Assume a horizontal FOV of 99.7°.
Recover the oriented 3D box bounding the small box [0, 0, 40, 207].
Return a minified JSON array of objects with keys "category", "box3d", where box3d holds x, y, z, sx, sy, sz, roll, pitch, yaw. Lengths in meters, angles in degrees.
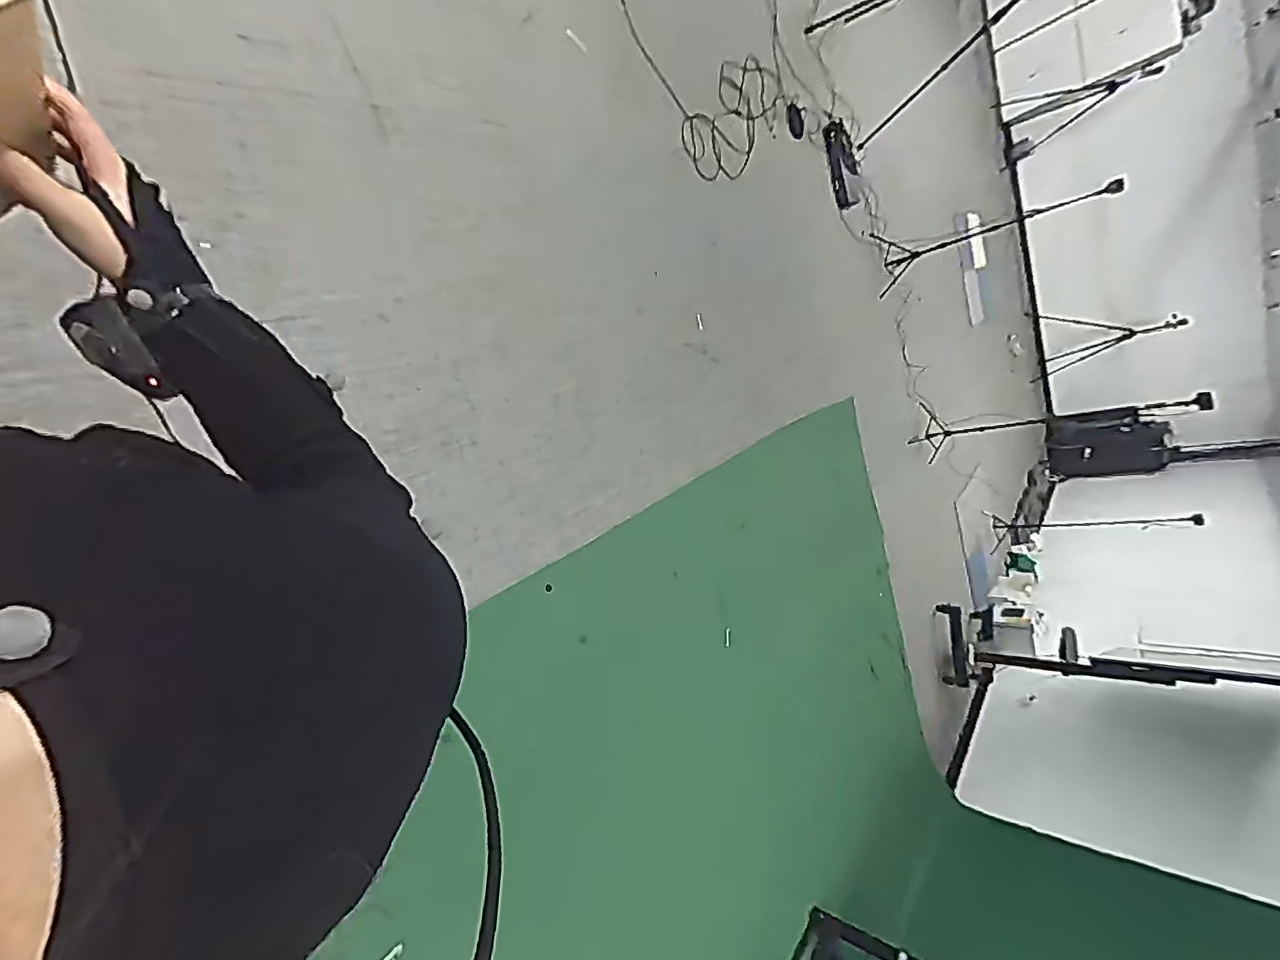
[{"category":"small box","box3d":[-0.448,-0.212,0.255,0.168,0.176,0.179,37,57,-32]}]
